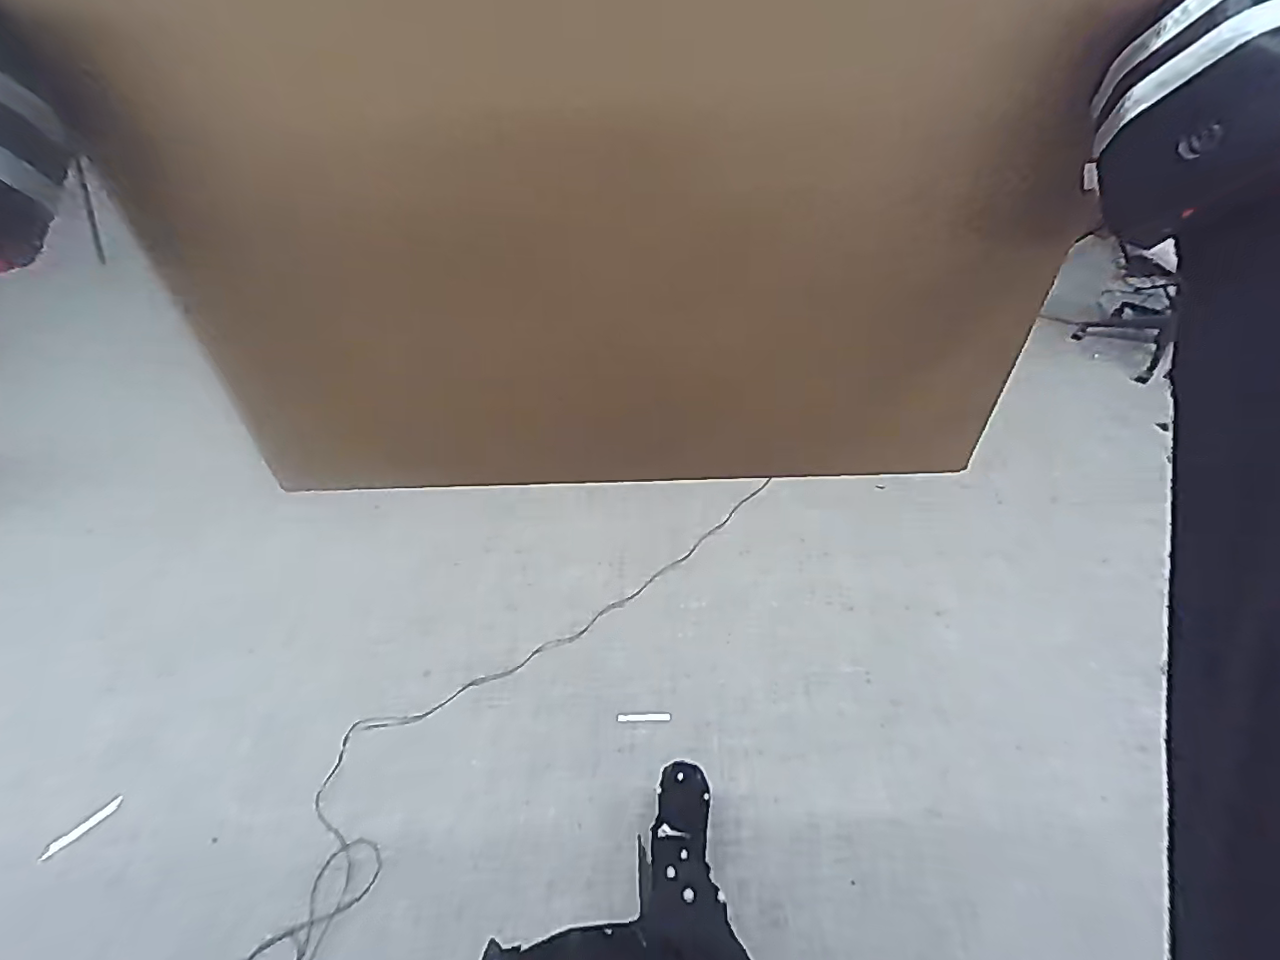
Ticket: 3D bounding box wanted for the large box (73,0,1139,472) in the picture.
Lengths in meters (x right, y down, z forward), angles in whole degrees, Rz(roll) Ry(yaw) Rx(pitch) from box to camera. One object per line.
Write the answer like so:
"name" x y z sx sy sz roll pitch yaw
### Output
"large box" -0.013 -0.219 0.352 0.408 0.320 0.320 -1 40 -2
